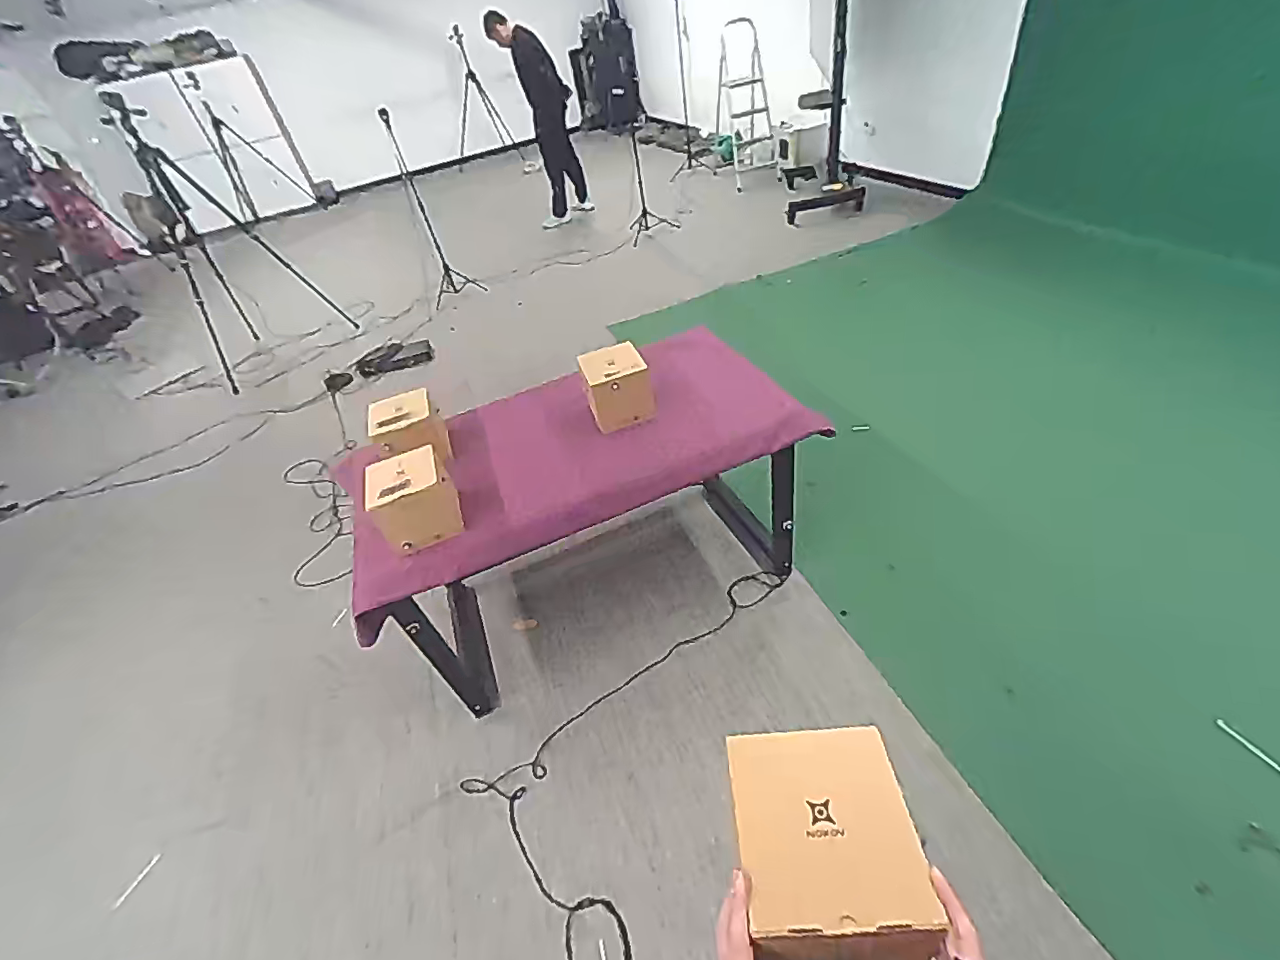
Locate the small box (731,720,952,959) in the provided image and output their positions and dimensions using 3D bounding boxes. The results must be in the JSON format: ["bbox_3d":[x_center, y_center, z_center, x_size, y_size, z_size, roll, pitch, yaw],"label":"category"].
[{"bbox_3d":[0.187,0.382,0.568,0.168,0.176,0.179,-5,36,4],"label":"small box"}]

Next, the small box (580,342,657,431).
[{"bbox_3d":[-0.060,-0.266,1.543,0.168,0.176,0.179,-19,41,-6],"label":"small box"}]

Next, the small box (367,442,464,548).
[{"bbox_3d":[-0.541,0.043,1.316,0.168,0.176,0.179,-21,41,-10],"label":"small box"}]
